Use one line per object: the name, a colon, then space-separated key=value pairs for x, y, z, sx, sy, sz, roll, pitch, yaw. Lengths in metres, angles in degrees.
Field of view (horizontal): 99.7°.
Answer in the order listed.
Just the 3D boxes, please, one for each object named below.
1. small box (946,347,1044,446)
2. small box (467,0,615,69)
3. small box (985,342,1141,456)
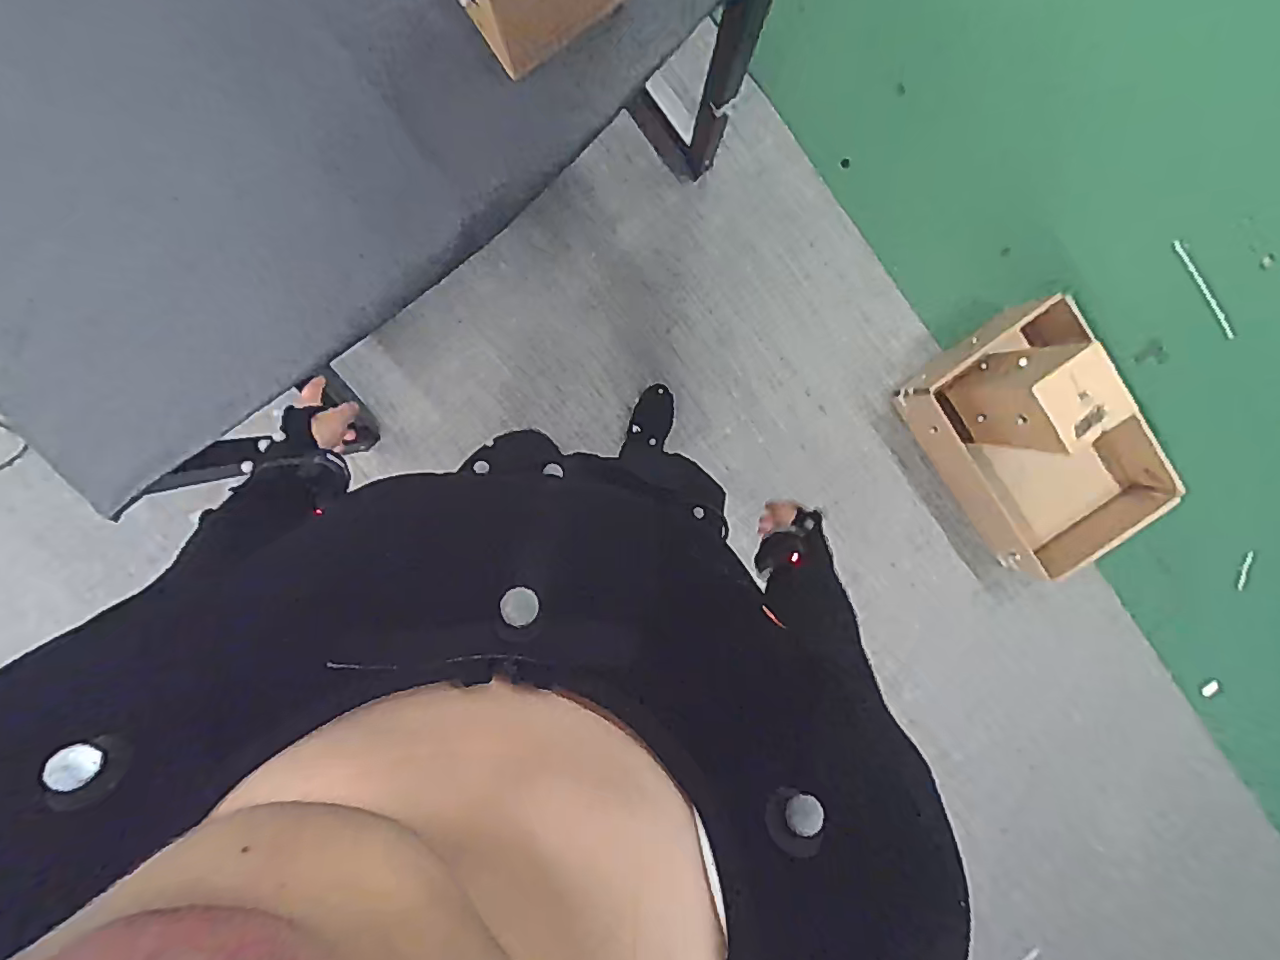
small box: x=0.904 y=-0.204 z=1.337 sx=0.168 sy=0.176 sz=0.179 roll=-37 pitch=99 yaw=5
small box: x=-0.126 y=-0.591 z=0.563 sx=0.179 sy=0.176 sz=0.168 roll=-35 pitch=98 yaw=2
small box: x=0.906 y=-0.176 z=1.175 sx=0.168 sy=0.176 sz=0.179 roll=-36 pitch=98 yaw=4
